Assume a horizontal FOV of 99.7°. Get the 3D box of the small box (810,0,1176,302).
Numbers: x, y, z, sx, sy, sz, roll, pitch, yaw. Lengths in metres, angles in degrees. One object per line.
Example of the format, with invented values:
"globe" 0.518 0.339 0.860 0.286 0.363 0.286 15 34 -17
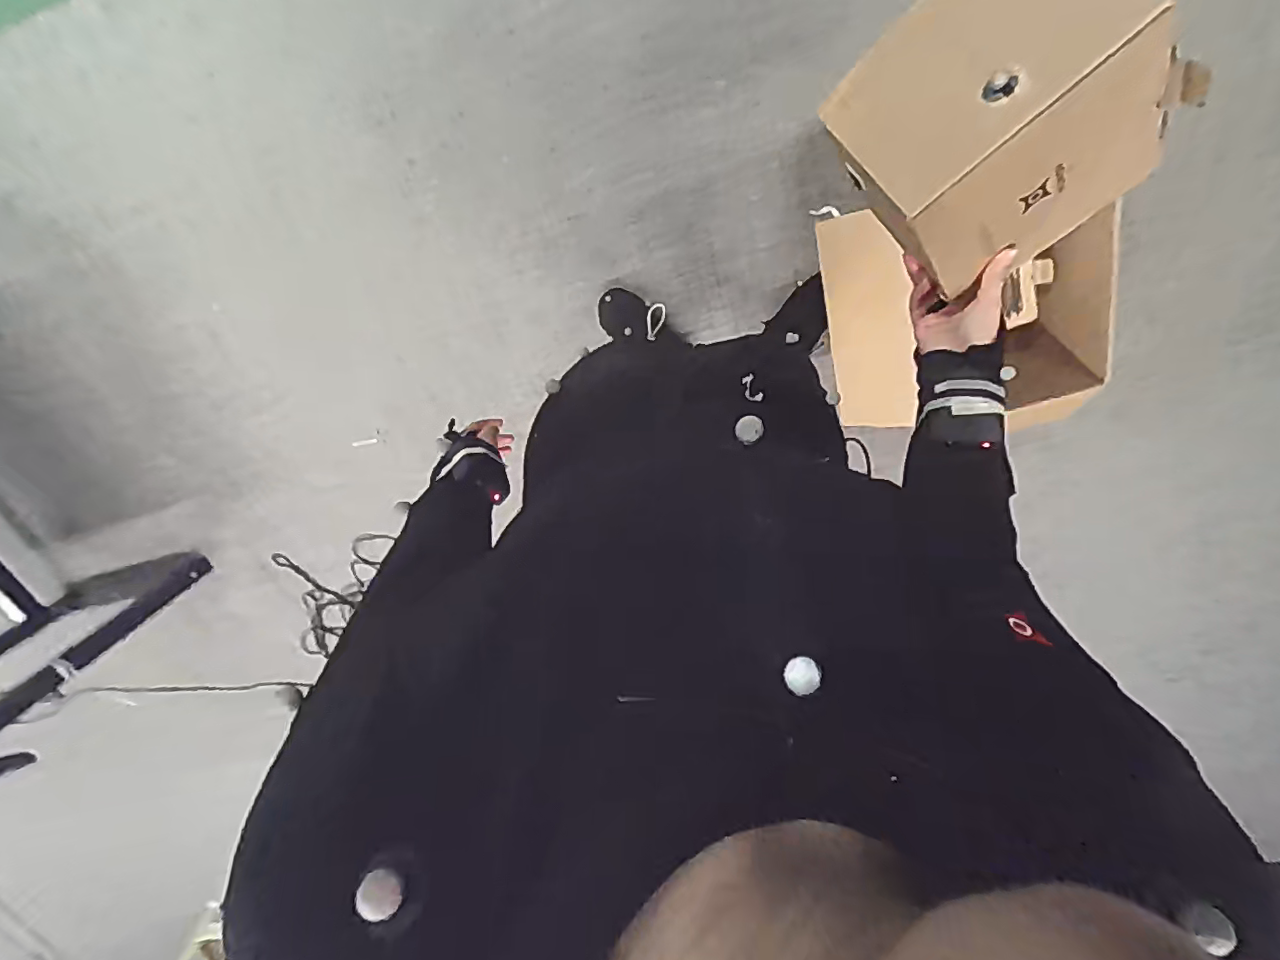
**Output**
"small box" 0.279 -0.295 0.455 0.179 0.176 0.168 -37 149 29
